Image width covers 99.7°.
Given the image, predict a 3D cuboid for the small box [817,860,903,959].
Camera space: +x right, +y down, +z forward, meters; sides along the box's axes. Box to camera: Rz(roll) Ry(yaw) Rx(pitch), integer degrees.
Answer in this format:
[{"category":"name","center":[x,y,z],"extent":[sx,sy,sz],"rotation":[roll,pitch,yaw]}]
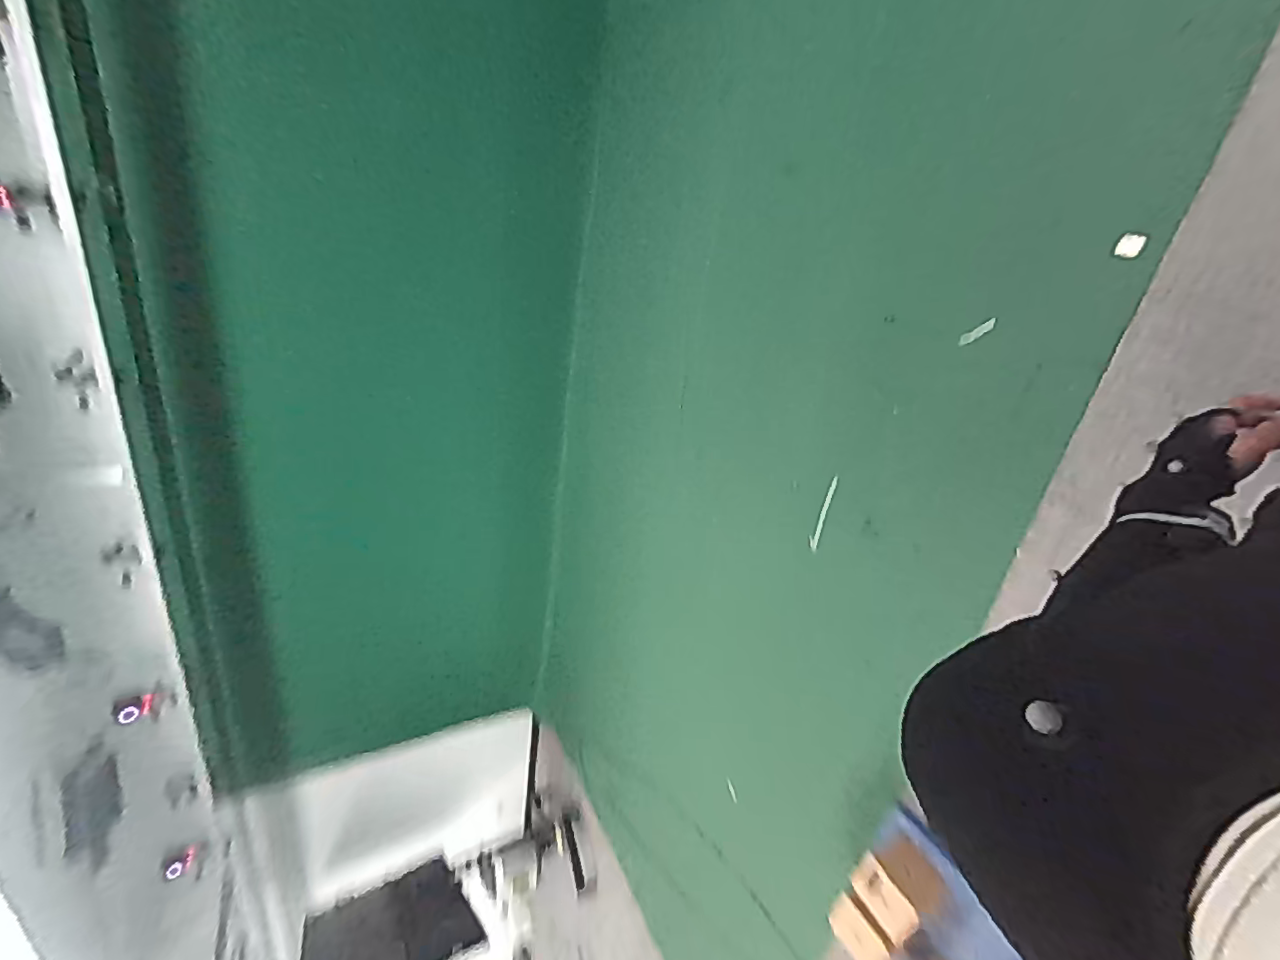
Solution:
[{"category":"small box","center":[0.722,1.403,1.770],"extent":[0.179,0.176,0.168],"rotation":[41,128,47]}]
